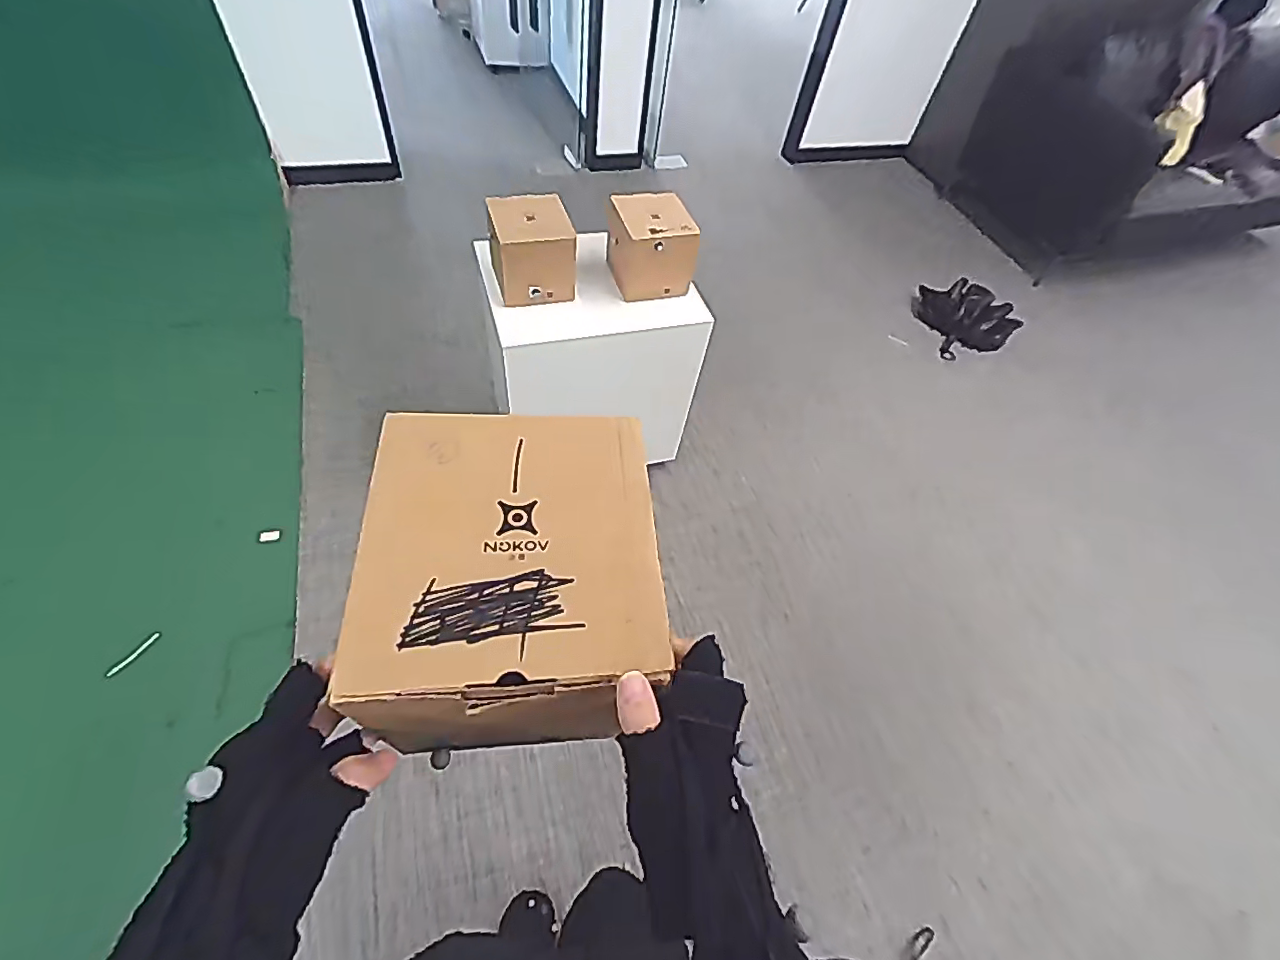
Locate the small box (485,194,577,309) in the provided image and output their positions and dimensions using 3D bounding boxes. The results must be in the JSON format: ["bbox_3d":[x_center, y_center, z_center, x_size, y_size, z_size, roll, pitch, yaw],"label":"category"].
[{"bbox_3d":[-0.247,-0.521,1.235,0.168,0.176,0.179,-14,60,-15],"label":"small box"}]

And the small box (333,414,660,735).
[{"bbox_3d":[-0.085,0.073,0.382,0.168,0.176,0.179,-1,56,-10],"label":"small box"}]

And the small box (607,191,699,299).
[{"bbox_3d":[0.021,-0.562,1.293,0.168,0.176,0.179,-13,58,-15],"label":"small box"}]
